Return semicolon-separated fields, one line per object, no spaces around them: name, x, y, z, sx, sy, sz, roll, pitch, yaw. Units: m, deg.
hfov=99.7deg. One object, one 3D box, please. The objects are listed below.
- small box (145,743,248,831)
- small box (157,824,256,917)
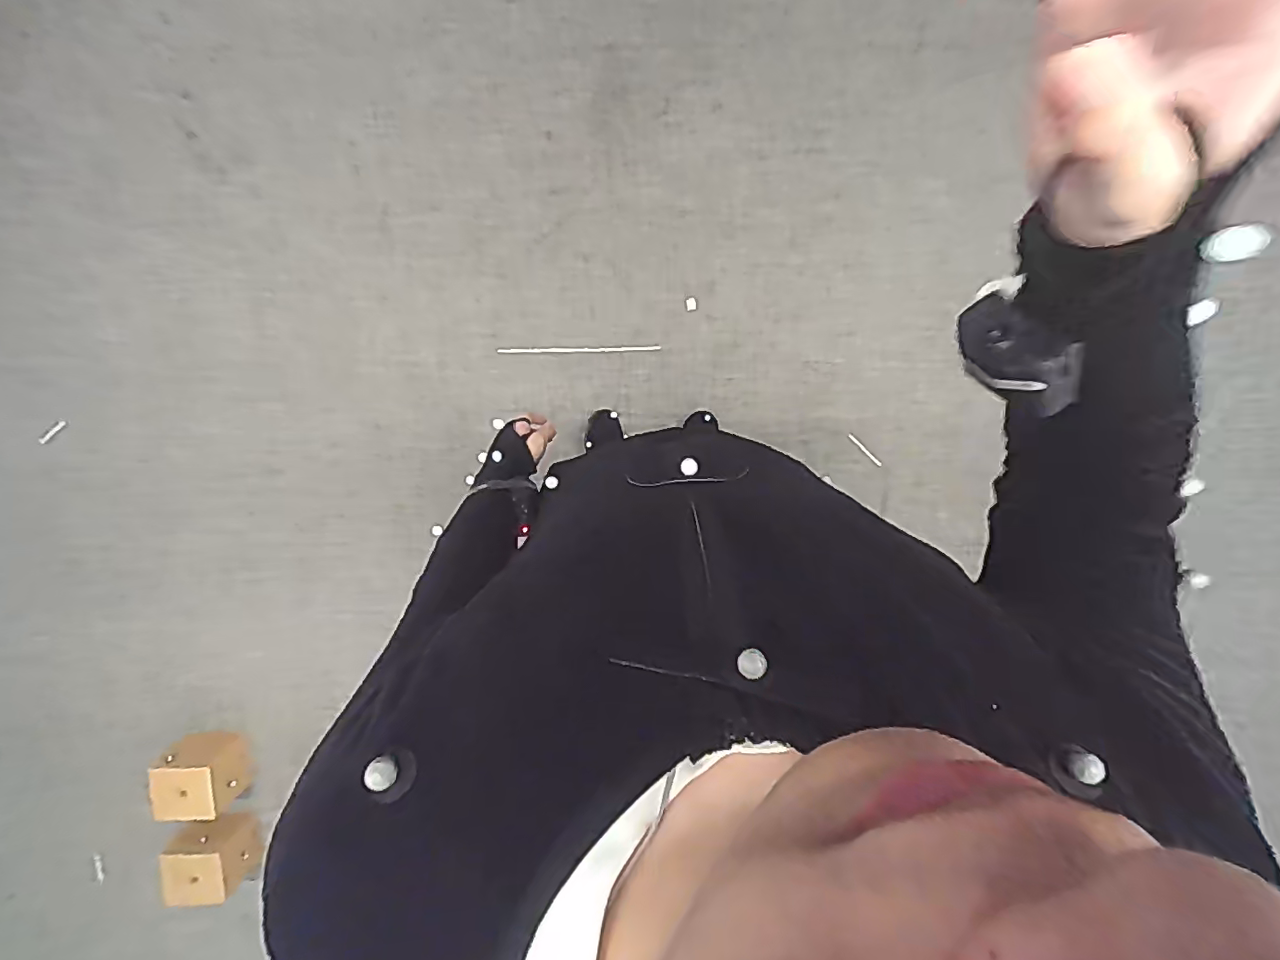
small box;-1.307;0.906;1.610;0.179;0.176;0.168;-1;96;-1
small box;-1.299;1.173;1.636;0.179;0.176;0.168;-1;96;-1
